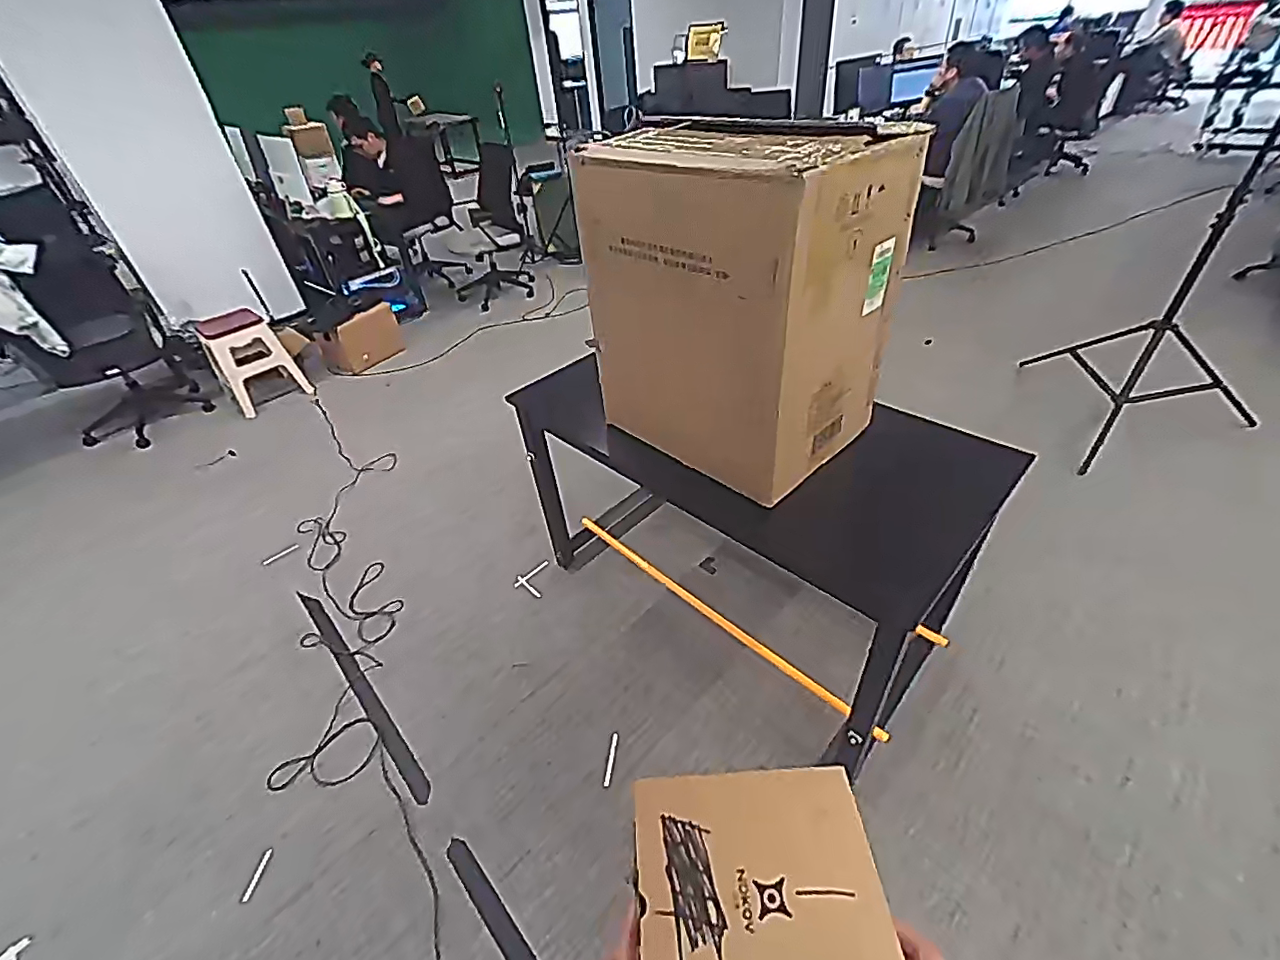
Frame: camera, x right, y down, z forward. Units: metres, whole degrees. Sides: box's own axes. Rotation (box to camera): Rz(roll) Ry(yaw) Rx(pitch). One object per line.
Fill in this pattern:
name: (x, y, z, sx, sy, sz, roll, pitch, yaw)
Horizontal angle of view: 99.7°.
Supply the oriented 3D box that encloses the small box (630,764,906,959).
small box: (0.086, 0.349, 0.428, 0.179, 0.176, 0.168, -3, 41, -1)
